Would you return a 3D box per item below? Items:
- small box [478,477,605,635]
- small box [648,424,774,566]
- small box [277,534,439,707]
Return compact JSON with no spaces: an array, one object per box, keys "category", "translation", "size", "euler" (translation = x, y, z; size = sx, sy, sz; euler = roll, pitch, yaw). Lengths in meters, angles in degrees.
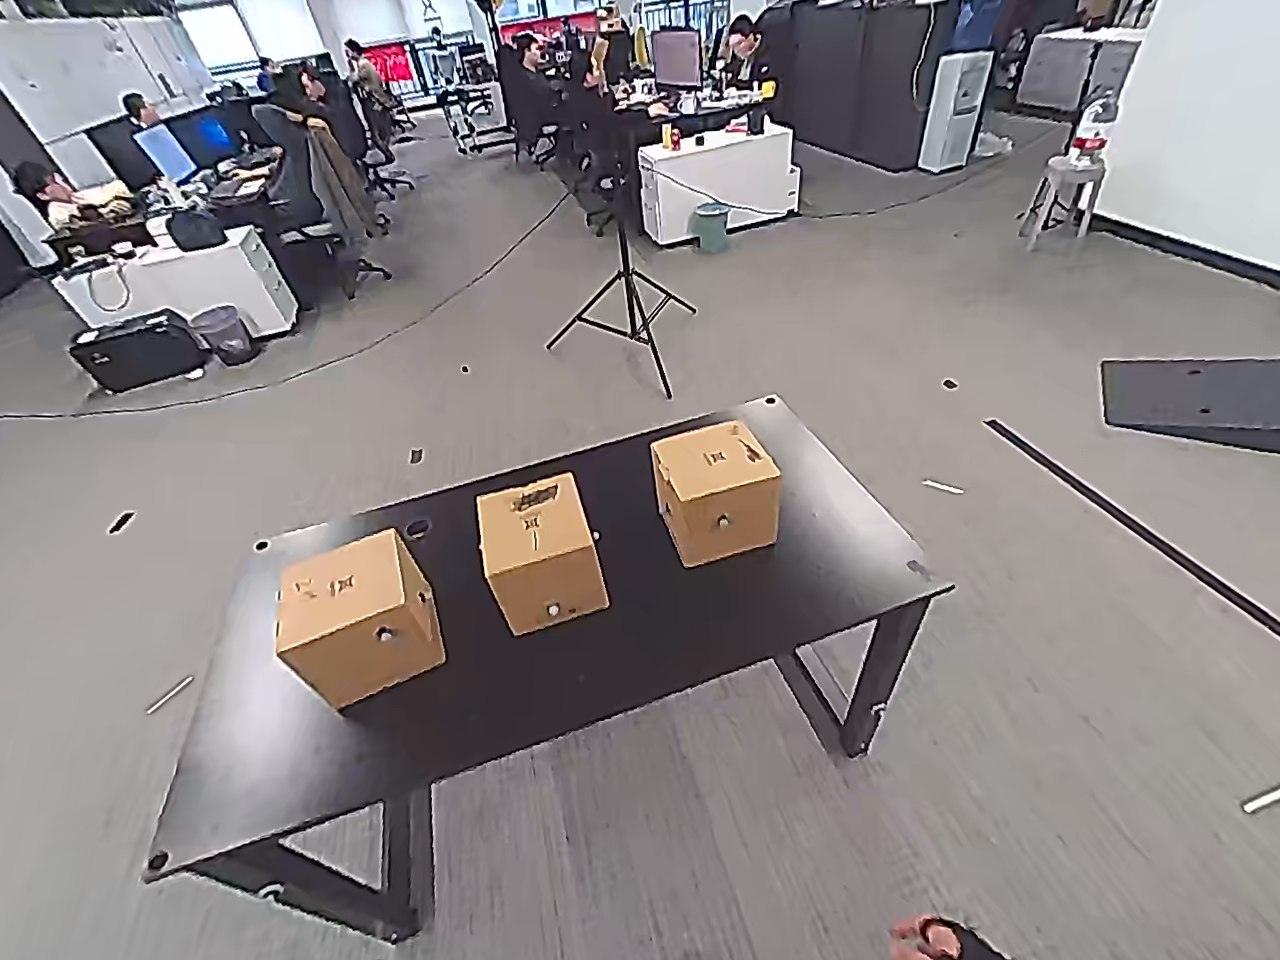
[{"category":"small box","translation":[-0.165,0.128,0.913],"size":[0.168,0.176,0.179],"euler":[-16,44,-8]},{"category":"small box","translation":[0.128,0.030,0.970],"size":[0.179,0.176,0.168],"euler":[-16,43,-6]},{"category":"small box","translation":[-0.434,0.222,0.856],"size":[0.179,0.176,0.168],"euler":[-22,44,-14]}]
